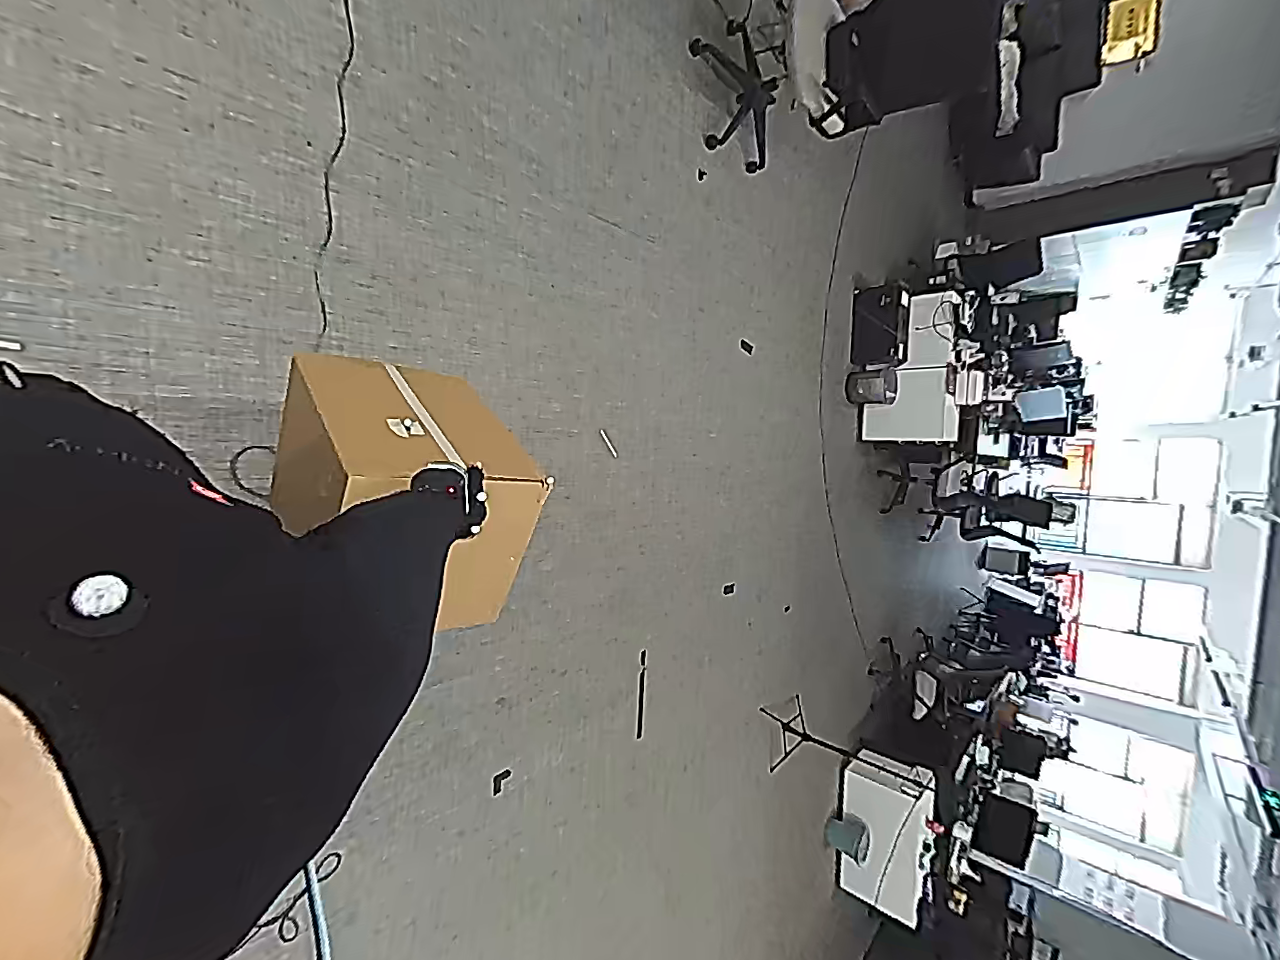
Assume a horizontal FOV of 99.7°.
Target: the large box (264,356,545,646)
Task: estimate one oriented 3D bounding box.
[{"bbox_3d":[-0.443,0.025,0.977,0.320,0.408,0.320,2,122,-45],"label":"large box"}]
